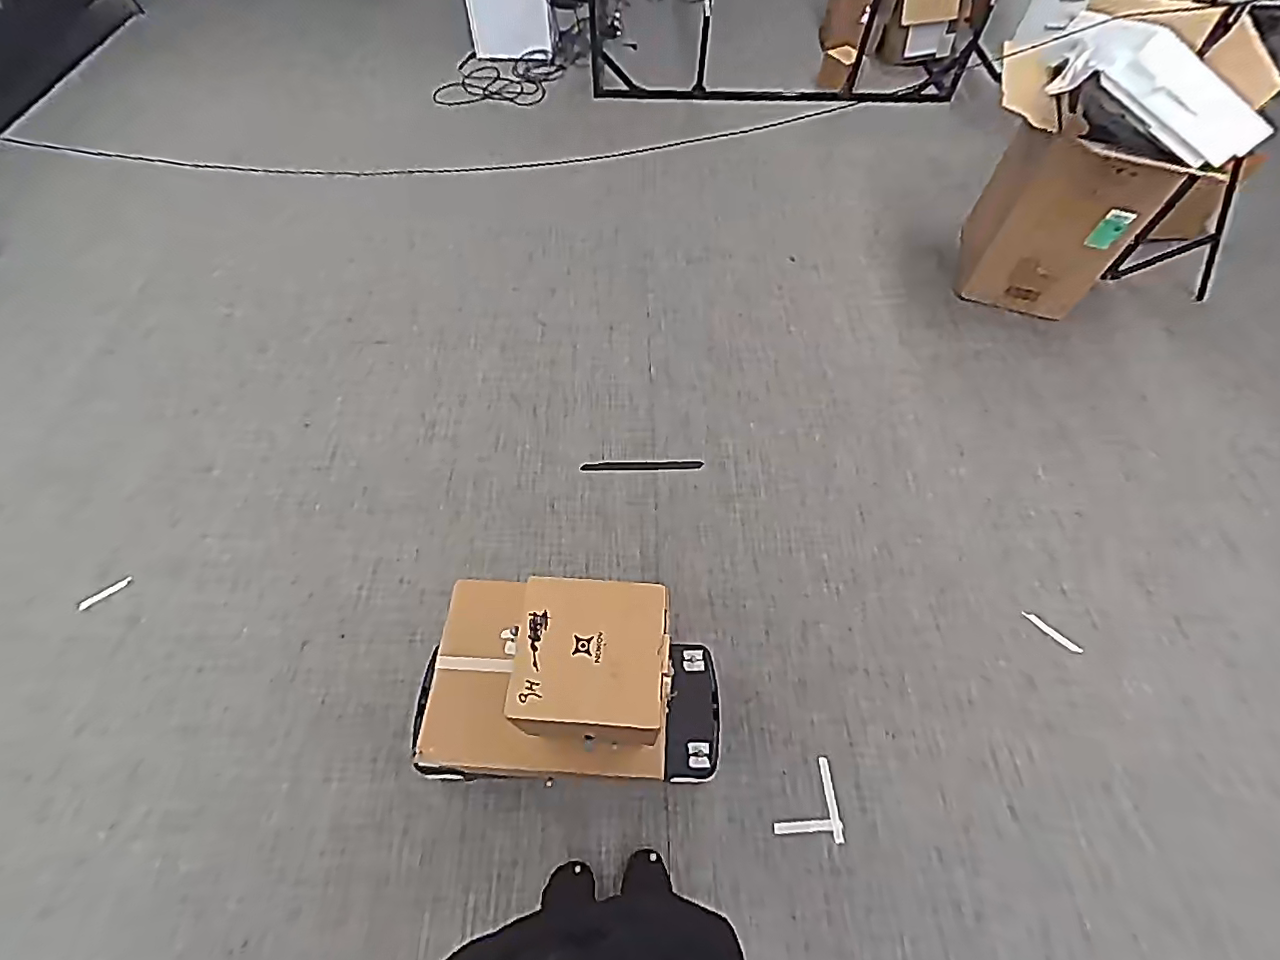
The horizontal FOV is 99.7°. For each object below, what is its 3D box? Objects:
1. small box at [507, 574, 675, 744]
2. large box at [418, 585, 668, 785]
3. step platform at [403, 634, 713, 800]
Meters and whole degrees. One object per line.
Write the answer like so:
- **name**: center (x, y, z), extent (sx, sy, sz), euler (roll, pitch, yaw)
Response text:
- **small box**: center (-0.054, 0.234, 0.689), extent (0.179, 0.176, 0.168), euler (5, 58, 1)
- **large box**: center (-0.149, 0.411, 1.057), extent (0.408, 0.320, 0.320), euler (3, 58, 2)
- **step platform**: center (-0.173, 0.544, 1.254), extent (0.684, 0.204, 0.286), euler (5, 58, 3)
